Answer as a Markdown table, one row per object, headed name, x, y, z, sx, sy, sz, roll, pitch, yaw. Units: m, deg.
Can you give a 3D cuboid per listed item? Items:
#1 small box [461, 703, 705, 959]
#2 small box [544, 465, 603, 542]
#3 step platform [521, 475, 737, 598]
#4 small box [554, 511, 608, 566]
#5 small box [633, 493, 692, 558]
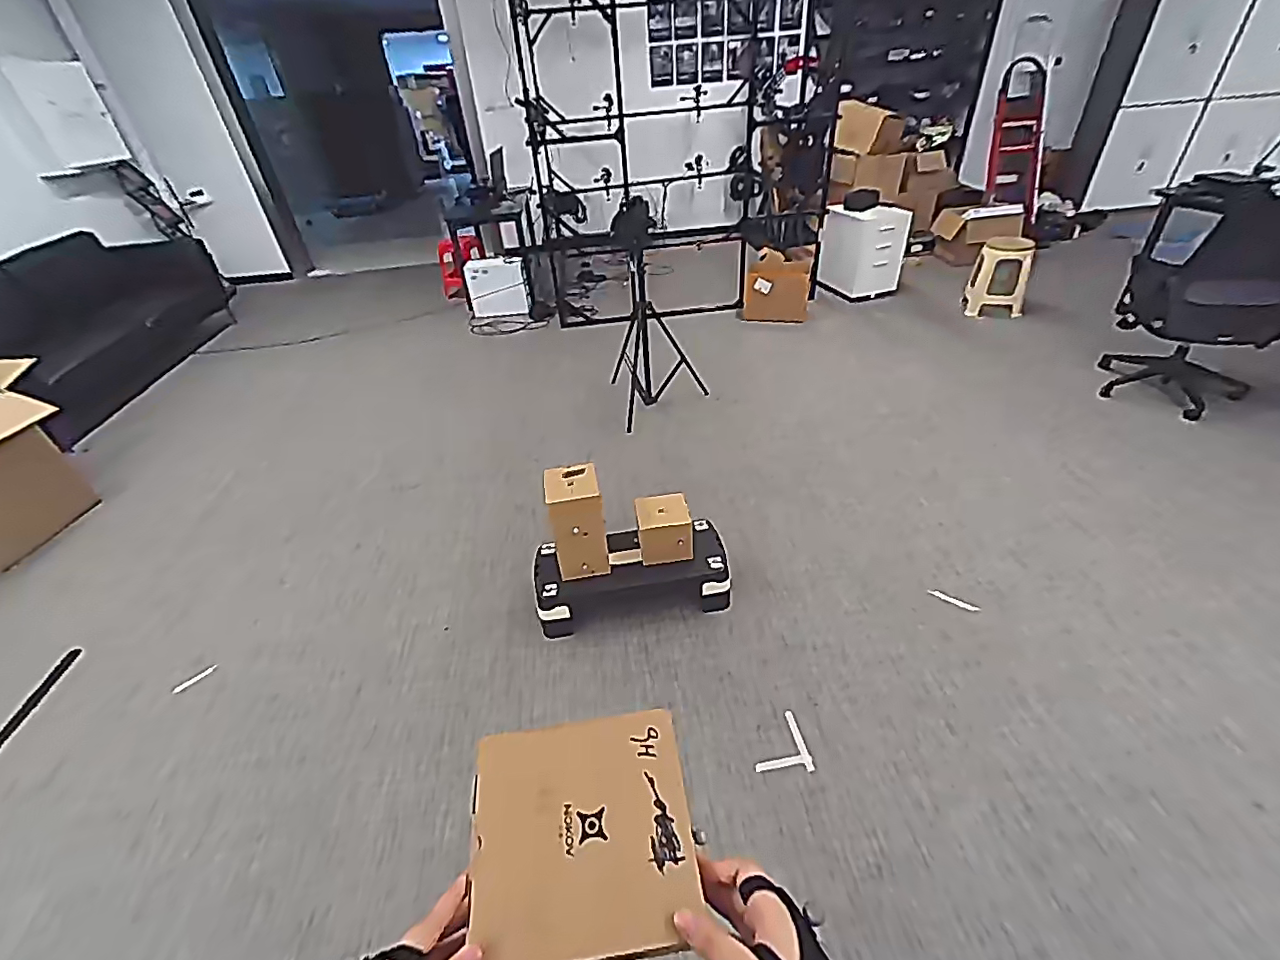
| name | x | y | z | sx | sy | sz | roll | pitch | yaw |
| --- | --- | --- | --- | --- | --- | --- | --- | --- | --- |
| small box | -0.045 | 0.326 | 0.489 | 0.179 | 0.176 | 0.168 | -6 | 47 | -5 |
| small box | -0.214 | 0.075 | 1.743 | 0.168 | 0.176 | 0.179 | -9 | 37 | -6 |
| step platform | -0.033 | 0.186 | 1.790 | 0.684 | 0.204 | 0.286 | -8 | 36 | -5 |
| small box | -0.200 | 0.210 | 1.837 | 0.168 | 0.176 | 0.179 | -9 | 37 | -5 |
| small box | 0.077 | 0.170 | 1.860 | 0.179 | 0.176 | 0.168 | -9 | 36 | -4 |
